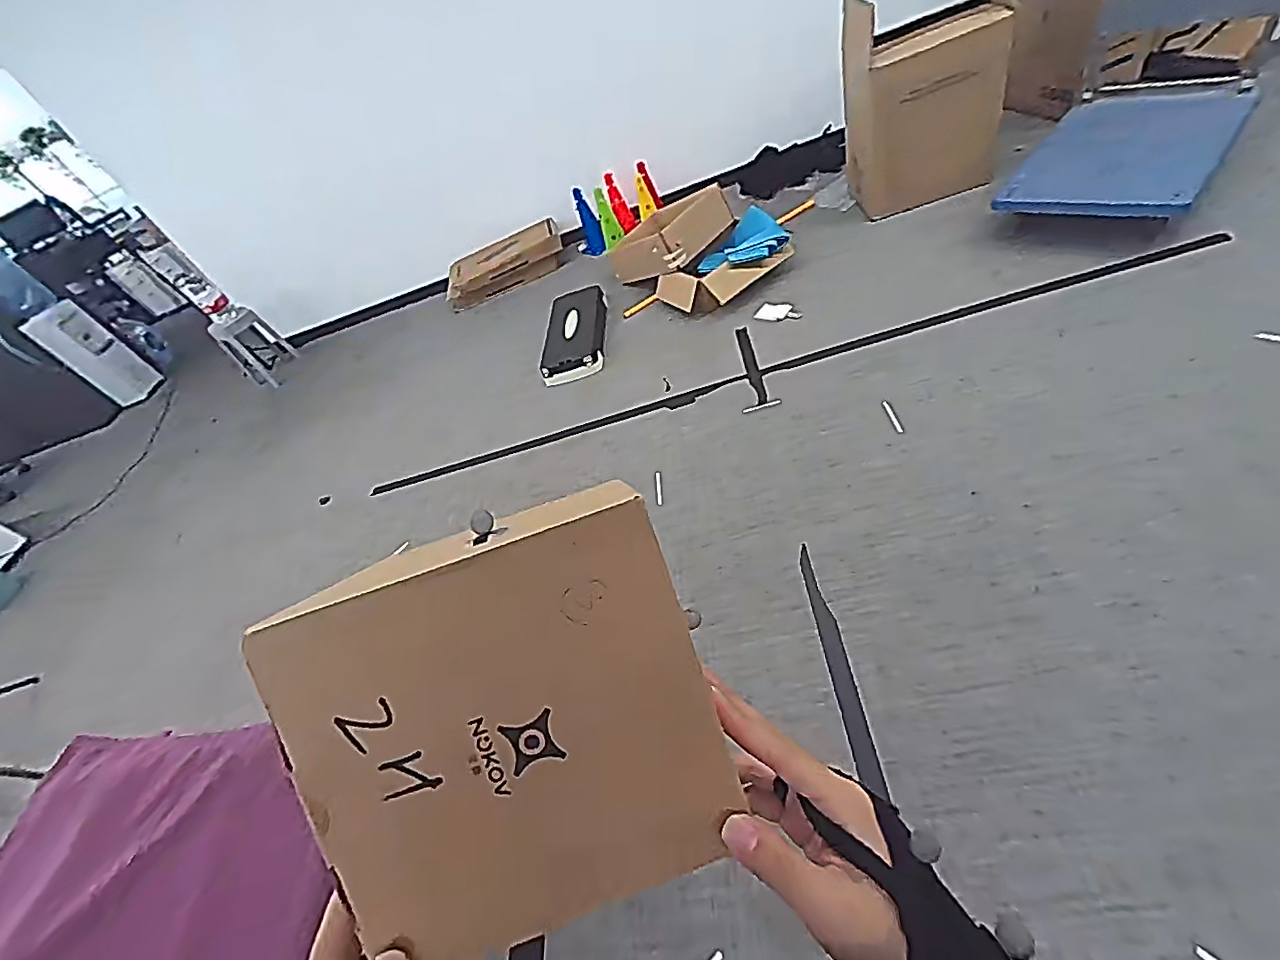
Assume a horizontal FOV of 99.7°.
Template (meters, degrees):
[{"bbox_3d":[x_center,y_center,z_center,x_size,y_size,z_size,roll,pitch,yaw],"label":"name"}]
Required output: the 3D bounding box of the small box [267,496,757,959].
[{"bbox_3d":[-0.059,0.113,0.317,0.179,0.168,0.176,-19,3,-4],"label":"small box"}]
